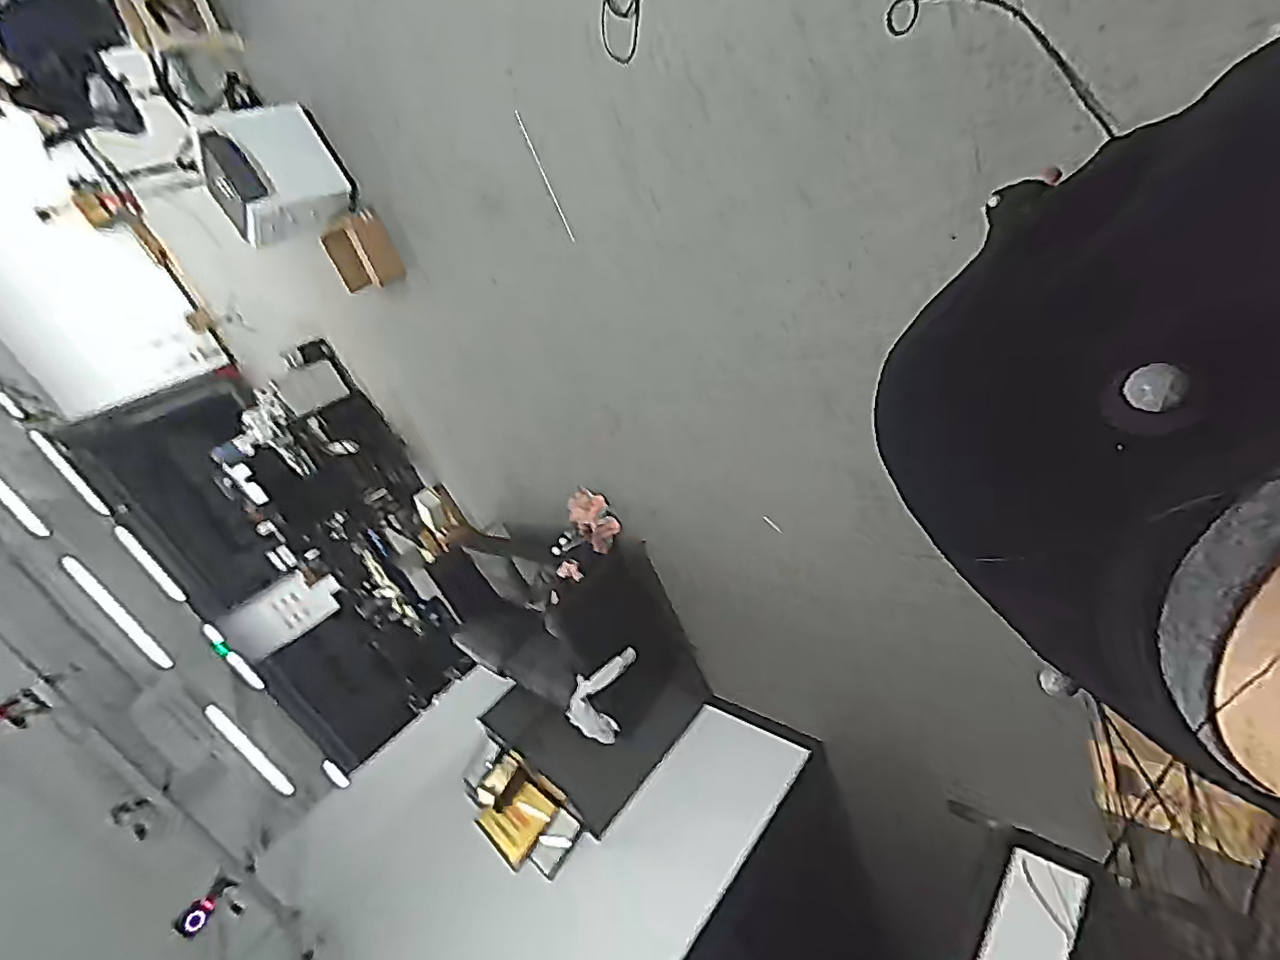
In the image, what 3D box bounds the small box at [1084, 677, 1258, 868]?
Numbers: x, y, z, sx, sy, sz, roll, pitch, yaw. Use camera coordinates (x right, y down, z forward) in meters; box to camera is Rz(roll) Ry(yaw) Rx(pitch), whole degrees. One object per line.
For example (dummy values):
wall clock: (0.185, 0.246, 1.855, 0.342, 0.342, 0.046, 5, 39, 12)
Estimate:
small box: (0.833, 0.442, 0.851, 0.179, 0.176, 0.168, 3, 123, 49)
